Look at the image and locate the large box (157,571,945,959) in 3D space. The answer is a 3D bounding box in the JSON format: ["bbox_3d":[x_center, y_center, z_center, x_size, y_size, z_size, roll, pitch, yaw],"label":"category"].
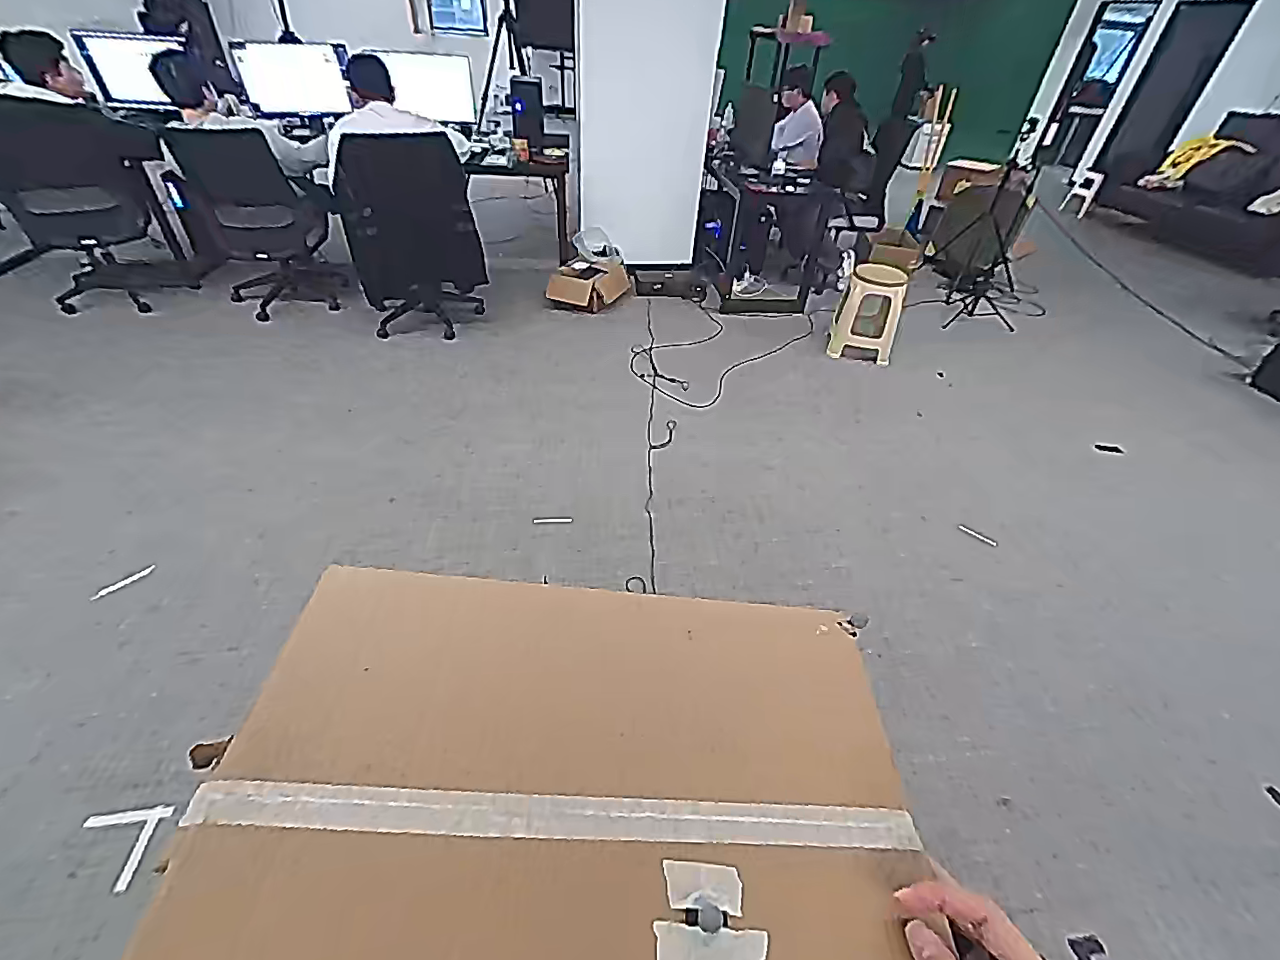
[{"bbox_3d":[-0.054,0.301,0.423,0.408,0.320,0.320,7,44,-7],"label":"large box"}]
